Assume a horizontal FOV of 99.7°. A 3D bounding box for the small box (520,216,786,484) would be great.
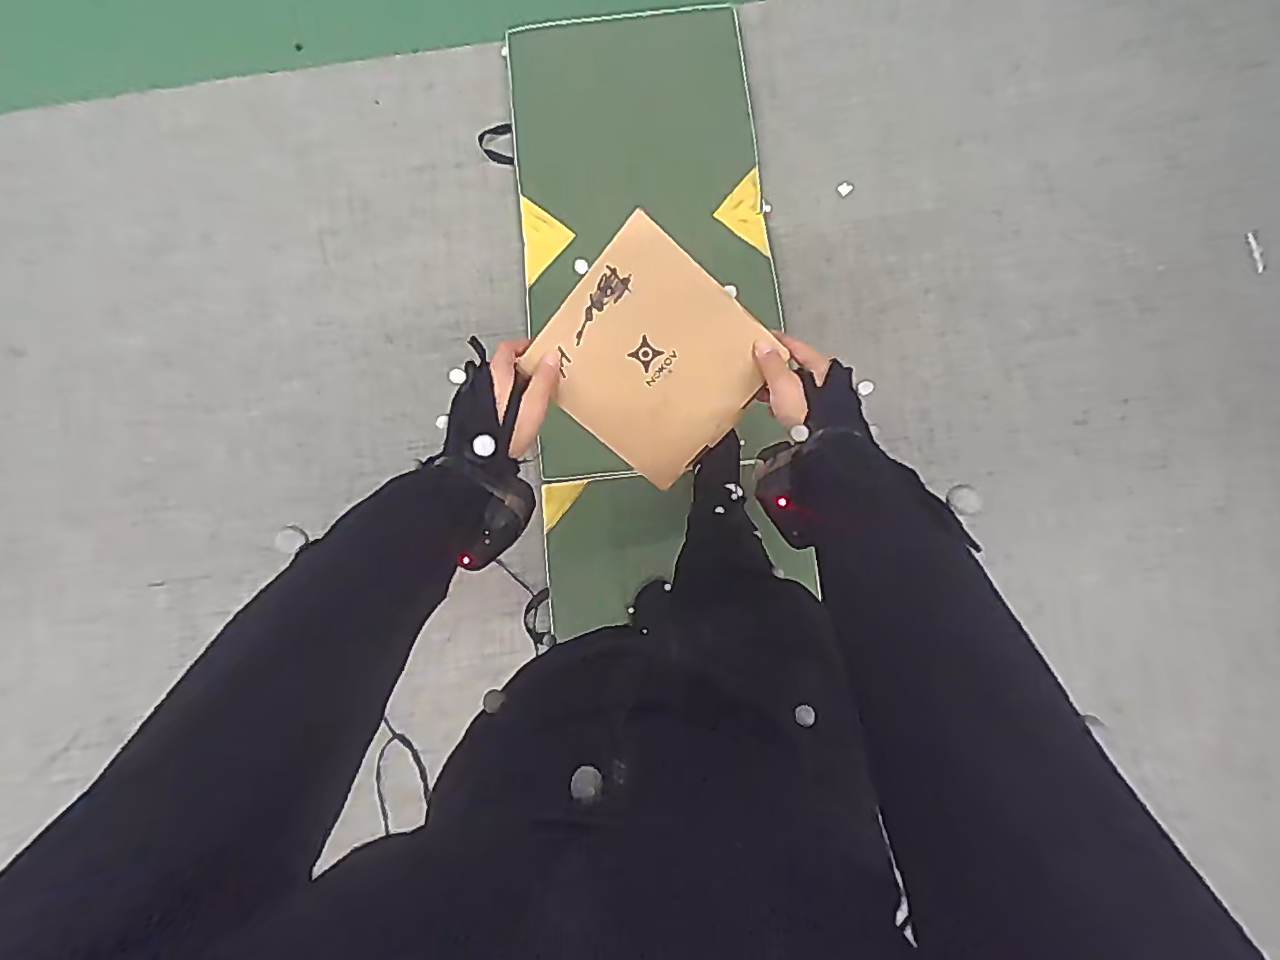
[{"bbox_3d":[0.013,-0.130,0.545,0.179,0.176,0.168,39,105,-11],"label":"small box"}]
